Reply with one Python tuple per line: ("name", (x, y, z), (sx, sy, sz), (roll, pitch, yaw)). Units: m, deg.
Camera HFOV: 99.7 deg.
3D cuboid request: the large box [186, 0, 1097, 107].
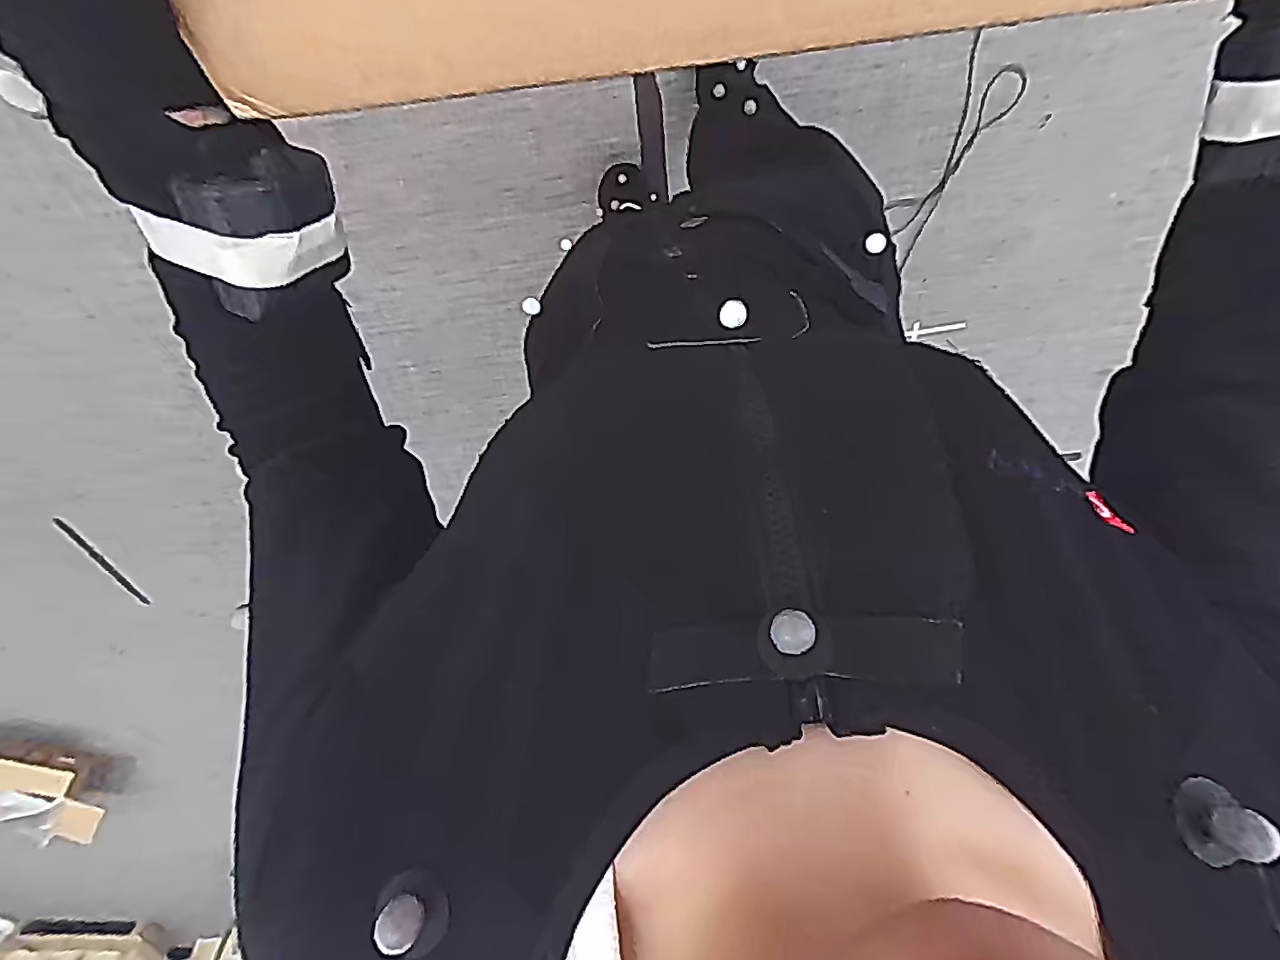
("large box", (0.015, -0.382, 0.180), (0.408, 0.320, 0.320), (-5, 142, 2))
